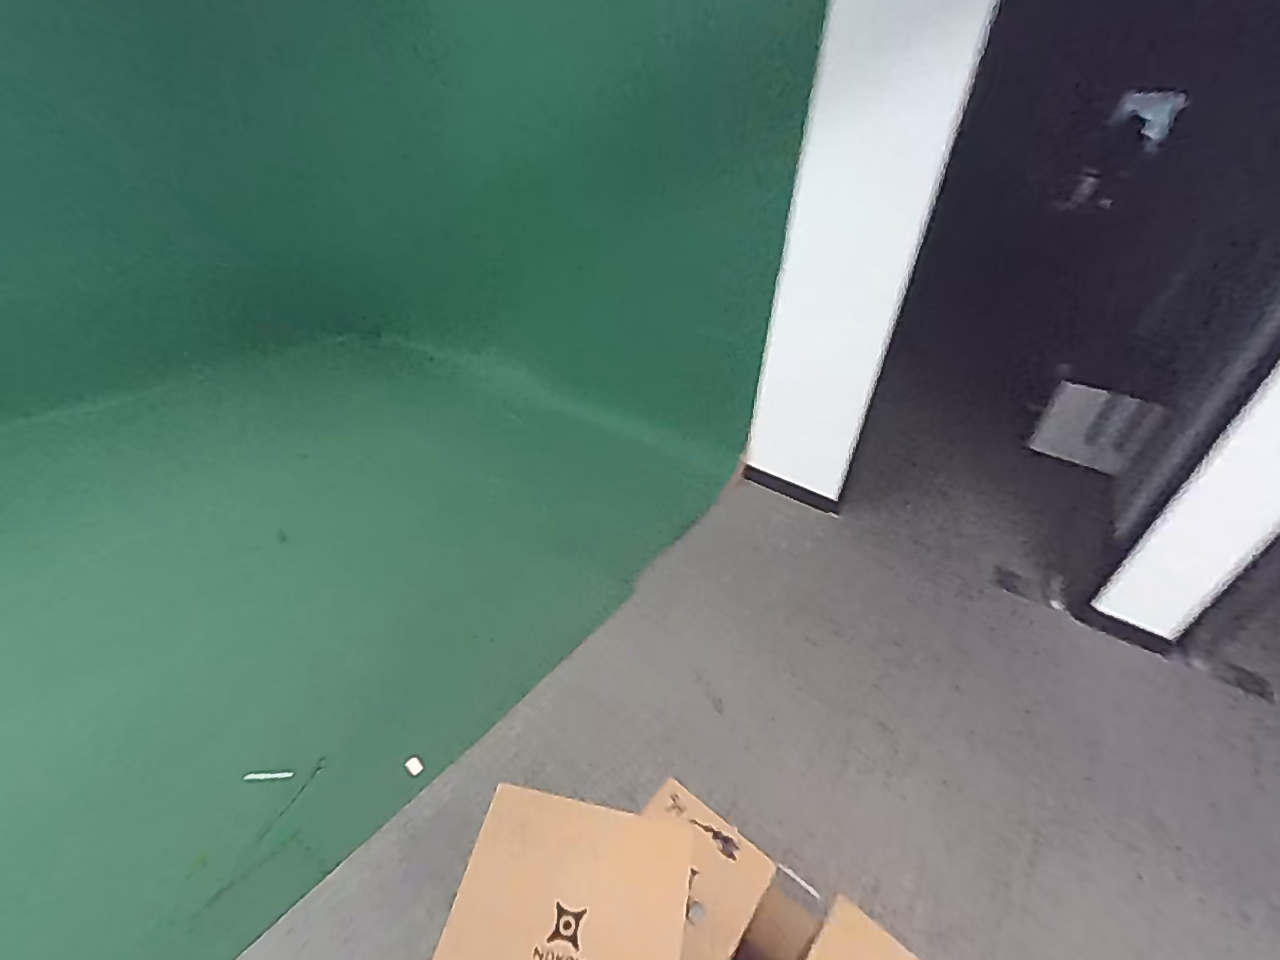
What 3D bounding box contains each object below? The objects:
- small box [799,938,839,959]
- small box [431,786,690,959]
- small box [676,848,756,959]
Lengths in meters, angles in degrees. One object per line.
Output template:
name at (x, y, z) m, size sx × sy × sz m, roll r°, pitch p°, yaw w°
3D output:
small box at (0.237, 0.753, 0.681) m, size 0.168 × 0.176 × 0.179 m, roll 28°, pitch 43°, yaw 32°
small box at (-0.060, 0.380, 0.427) m, size 0.168 × 0.176 × 0.179 m, roll 9°, pitch 43°, yaw 7°
small box at (0.043, 0.667, 0.788) m, size 0.168 × 0.176 × 0.179 m, roll 27°, pitch 44°, yaw 28°
